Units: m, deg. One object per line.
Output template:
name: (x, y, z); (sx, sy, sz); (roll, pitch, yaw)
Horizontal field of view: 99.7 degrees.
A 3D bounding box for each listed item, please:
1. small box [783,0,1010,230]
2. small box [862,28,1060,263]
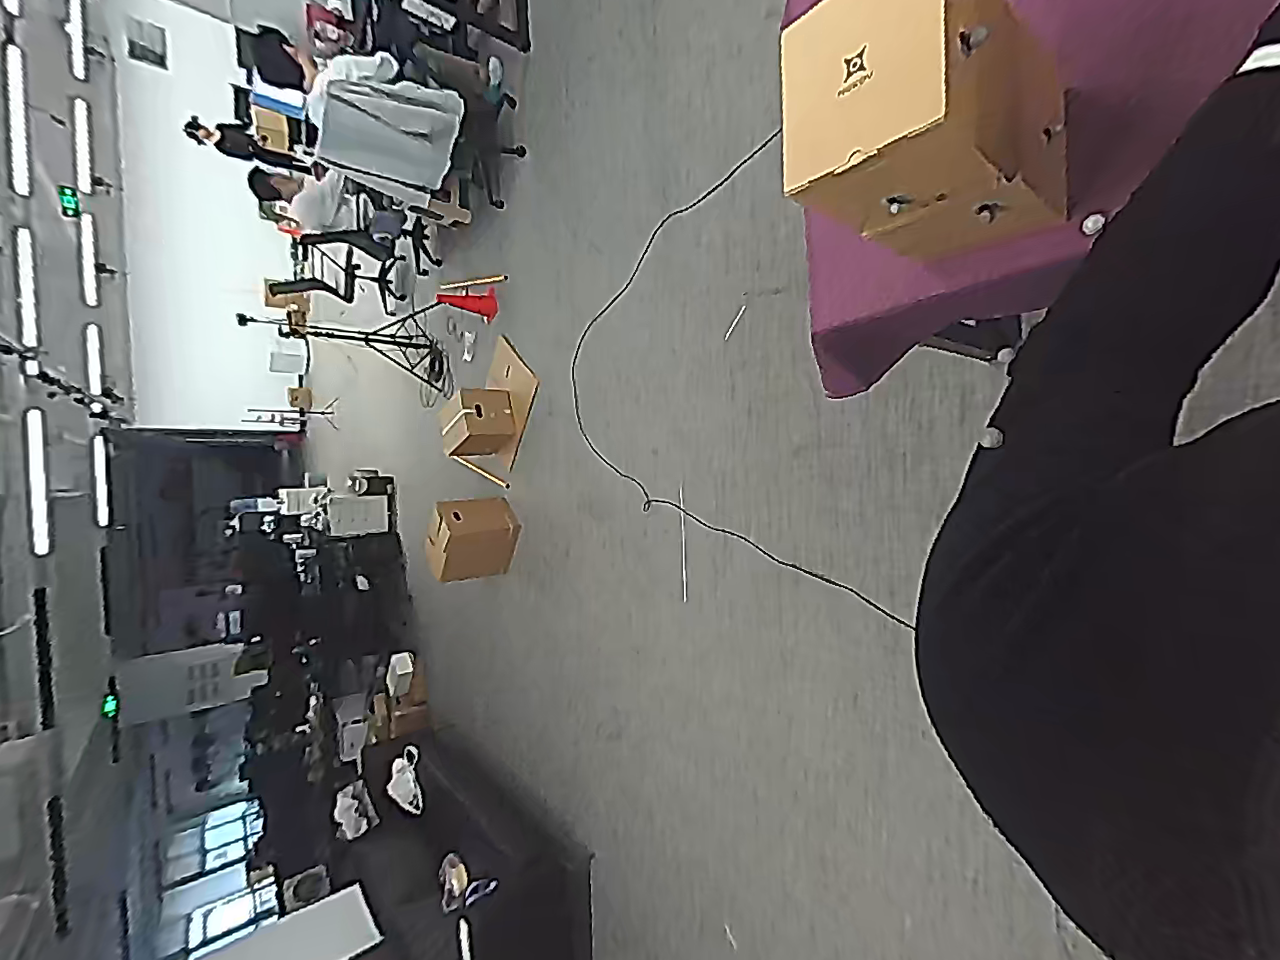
small box: (0.272, -0.398, 0.577); (0.168, 0.176, 0.179); (1, 93, 51)
small box: (0.401, -0.393, 0.677); (0.179, 0.176, 0.168); (0, 91, 51)
